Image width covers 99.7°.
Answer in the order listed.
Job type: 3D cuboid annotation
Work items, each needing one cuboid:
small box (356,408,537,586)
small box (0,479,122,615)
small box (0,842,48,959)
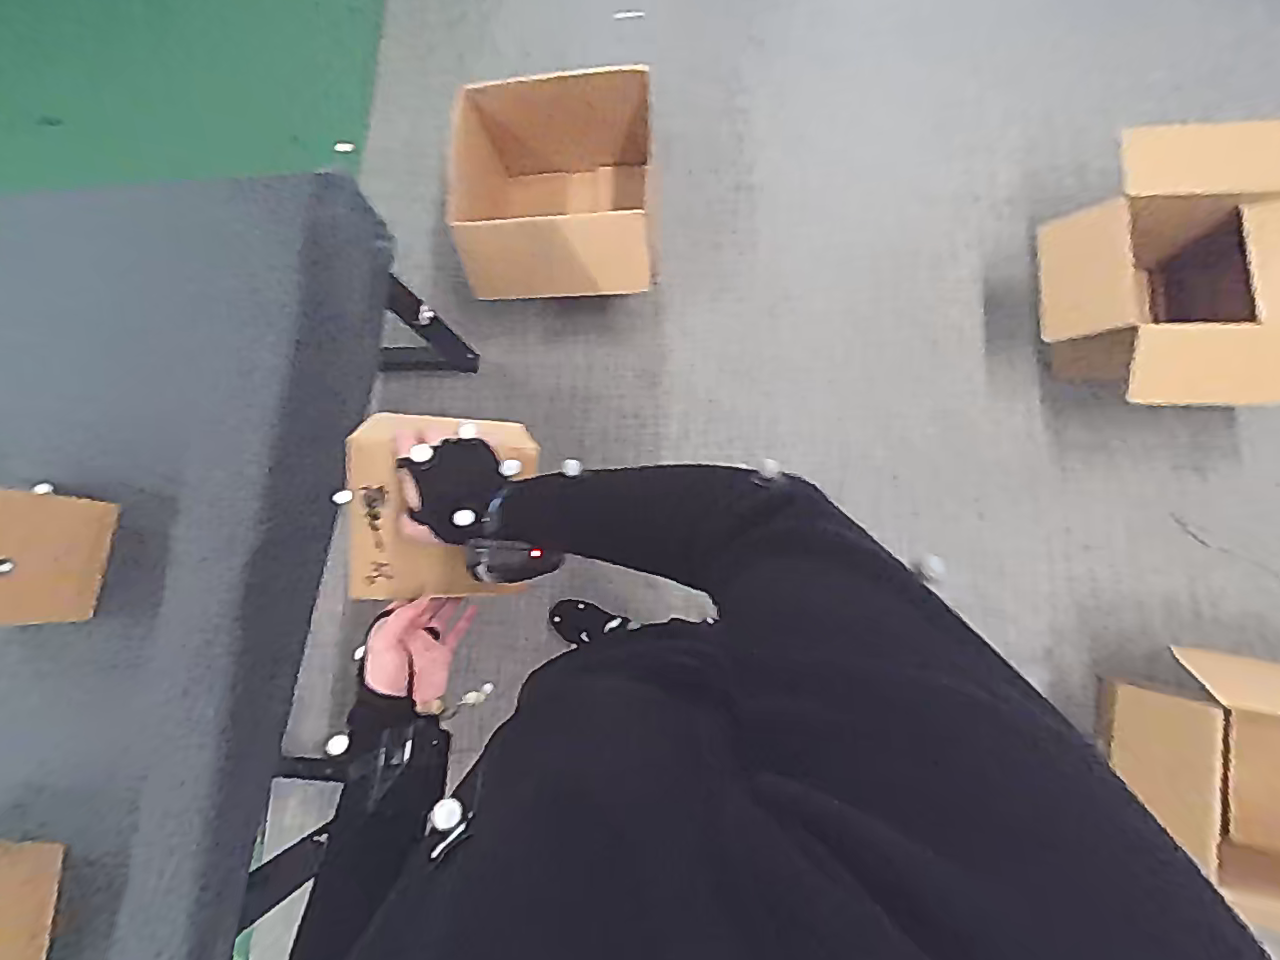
[{"bbox_3d":[-0.225,0.011,0.639,0.179,0.176,0.168,1,105,-18],"label":"small box"},{"bbox_3d":[-0.887,0.090,0.748,0.168,0.176,0.179,8,80,7],"label":"small box"},{"bbox_3d":[-0.879,0.555,0.644,0.168,0.176,0.179,-3,79,8],"label":"small box"}]
